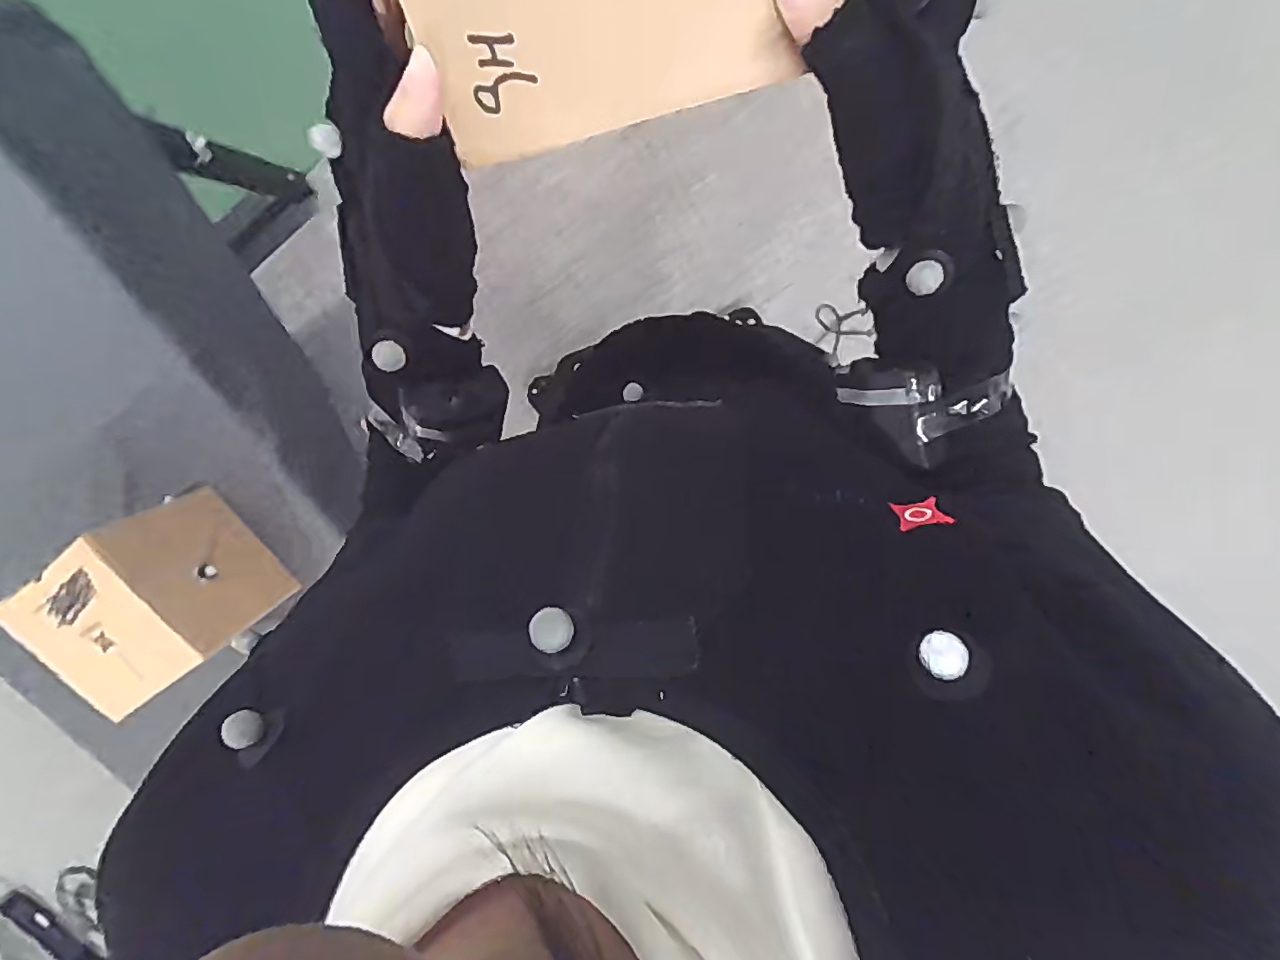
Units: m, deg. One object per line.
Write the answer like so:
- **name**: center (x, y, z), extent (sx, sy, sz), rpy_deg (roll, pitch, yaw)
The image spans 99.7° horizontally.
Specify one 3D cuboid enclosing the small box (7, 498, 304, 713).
- **small box**: center (-0.579, 0.140, 0.673), extent (0.168, 0.176, 0.179), rpy_deg (-32, 104, 13)
